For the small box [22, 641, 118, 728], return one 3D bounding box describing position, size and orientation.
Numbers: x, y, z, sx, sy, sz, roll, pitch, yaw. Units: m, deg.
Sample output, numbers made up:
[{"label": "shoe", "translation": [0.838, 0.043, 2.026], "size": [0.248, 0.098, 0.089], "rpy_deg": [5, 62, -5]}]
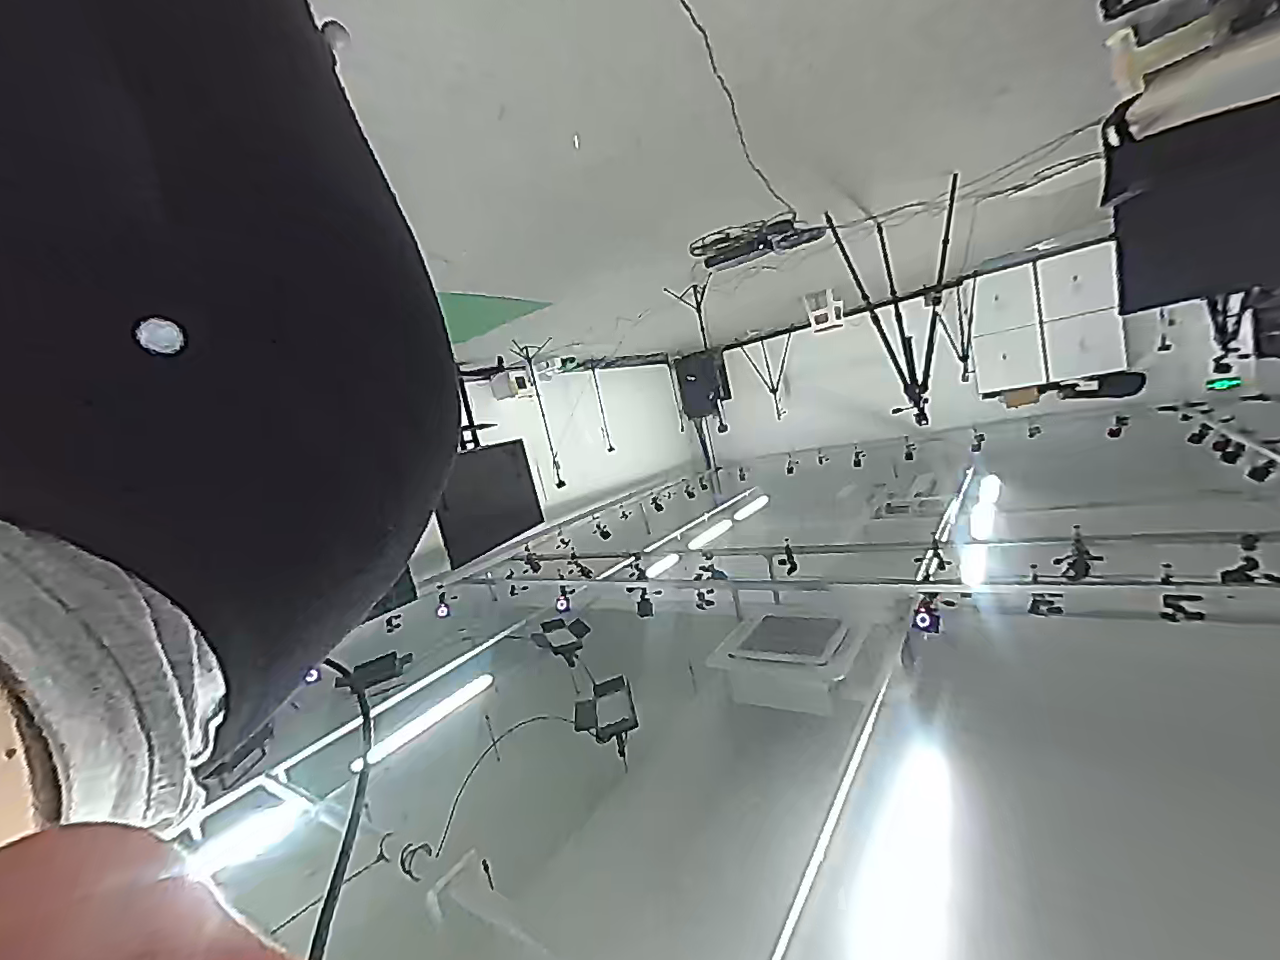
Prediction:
[{"label": "small box", "translation": [-1.700, 0.603, 1.617], "size": [0.179, 0.176, 0.168], "rpy_deg": [-4, -171, 45]}]
